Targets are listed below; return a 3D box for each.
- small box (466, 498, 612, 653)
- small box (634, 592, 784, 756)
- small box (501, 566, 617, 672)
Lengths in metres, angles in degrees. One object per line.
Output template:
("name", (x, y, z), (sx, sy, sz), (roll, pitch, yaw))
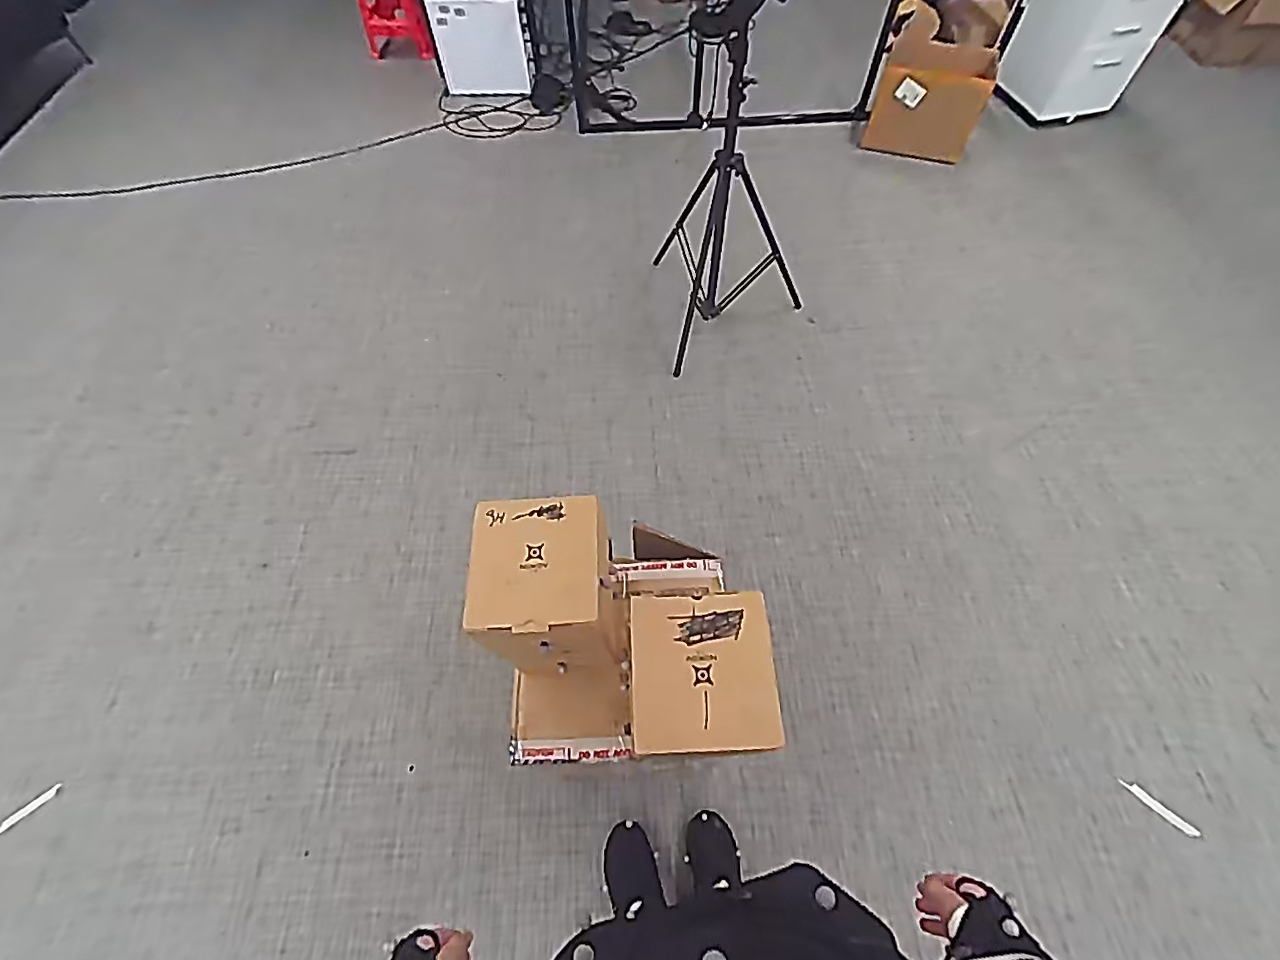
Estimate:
("small box", (-0.130, 0.143, 0.762), (0.168, 0.176, 0.179), (-4, 62, 1))
("small box", (0.075, 0.254, 0.697), (0.168, 0.176, 0.179), (-2, 62, 1))
("small box", (-0.129, 0.214, 0.911), (0.168, 0.176, 0.179), (-6, 62, 0))
